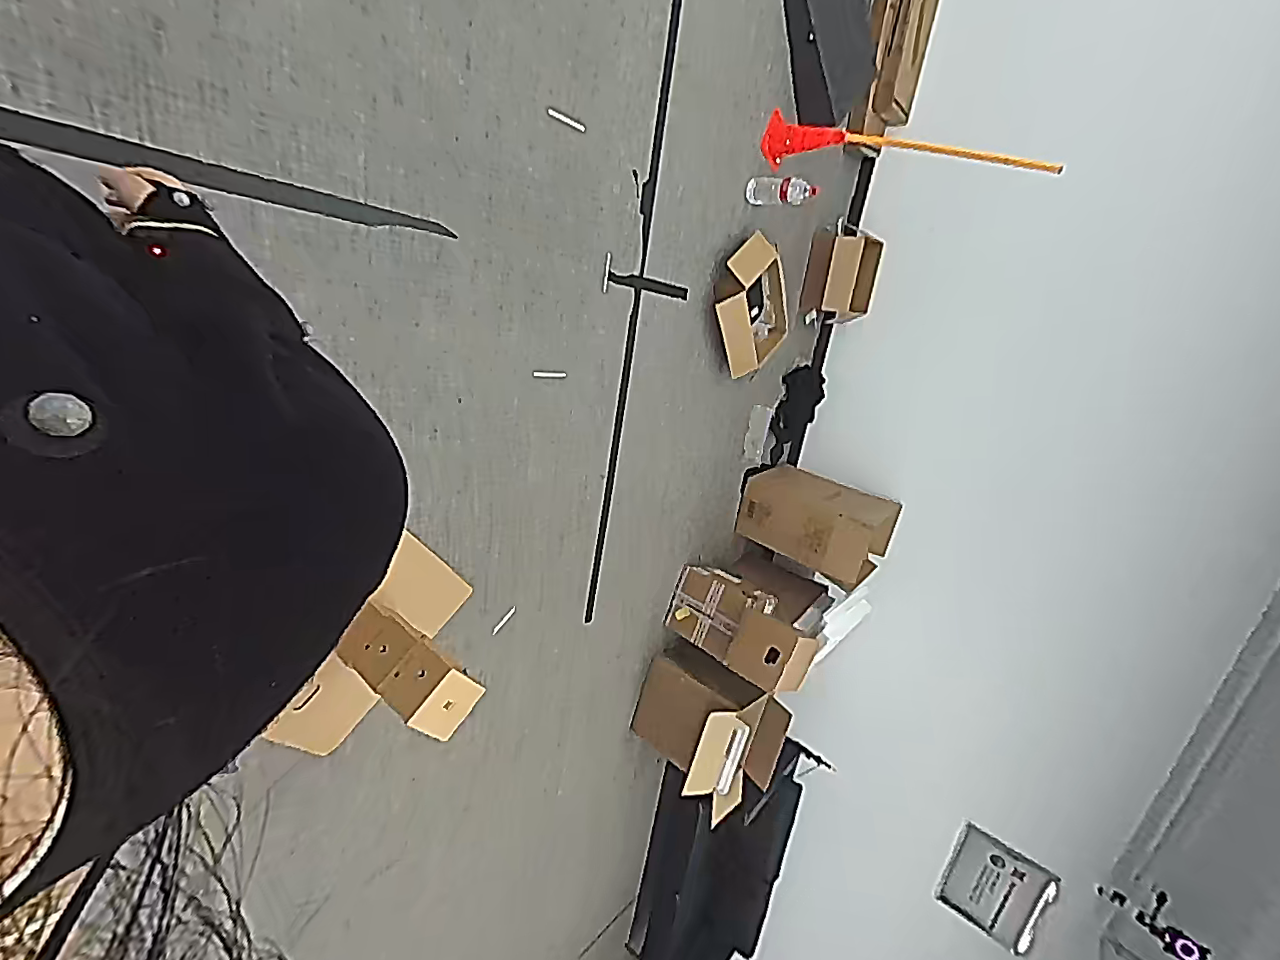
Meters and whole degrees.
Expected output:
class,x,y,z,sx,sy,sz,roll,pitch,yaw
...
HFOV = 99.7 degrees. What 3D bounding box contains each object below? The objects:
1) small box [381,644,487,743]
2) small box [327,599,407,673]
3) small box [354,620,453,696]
class,x,y,z,sx,sy,sz,roll,pitch,yaw
small box,-0.560,0.573,1.468,0.168,0.176,0.179,-52,142,-21
small box,-0.812,0.491,1.662,0.168,0.176,0.179,-54,141,-18
small box,-0.683,0.531,1.567,0.168,0.176,0.179,-52,142,-19
